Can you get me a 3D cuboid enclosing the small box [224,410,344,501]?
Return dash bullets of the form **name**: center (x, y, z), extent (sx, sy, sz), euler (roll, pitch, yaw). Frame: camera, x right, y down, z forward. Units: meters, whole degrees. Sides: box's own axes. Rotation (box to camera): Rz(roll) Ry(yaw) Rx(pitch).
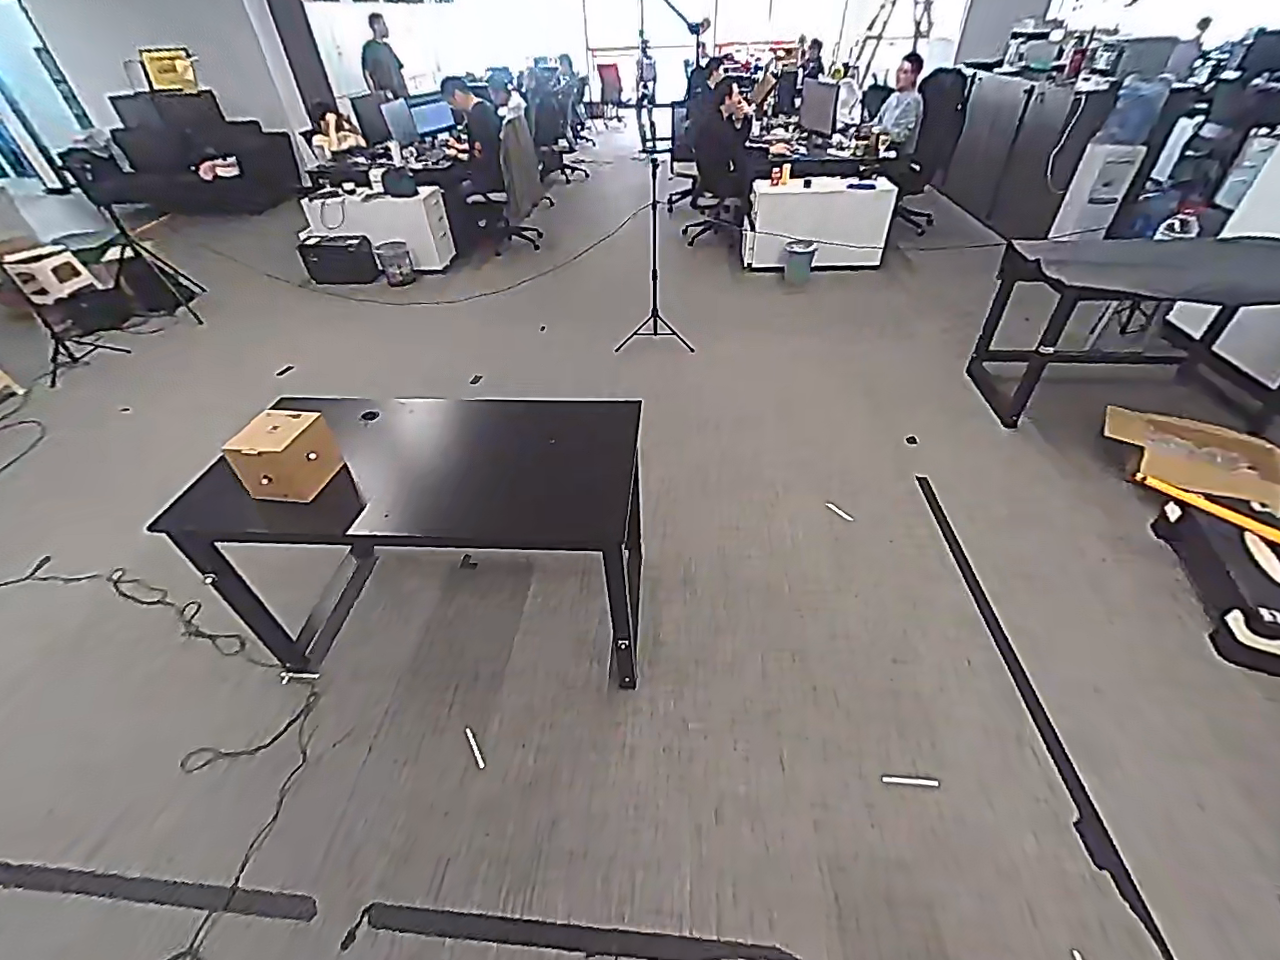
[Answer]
- **small box**: center (-0.918, -0.063, 1.418), extent (0.168, 0.176, 0.179), euler (4, 42, 7)
